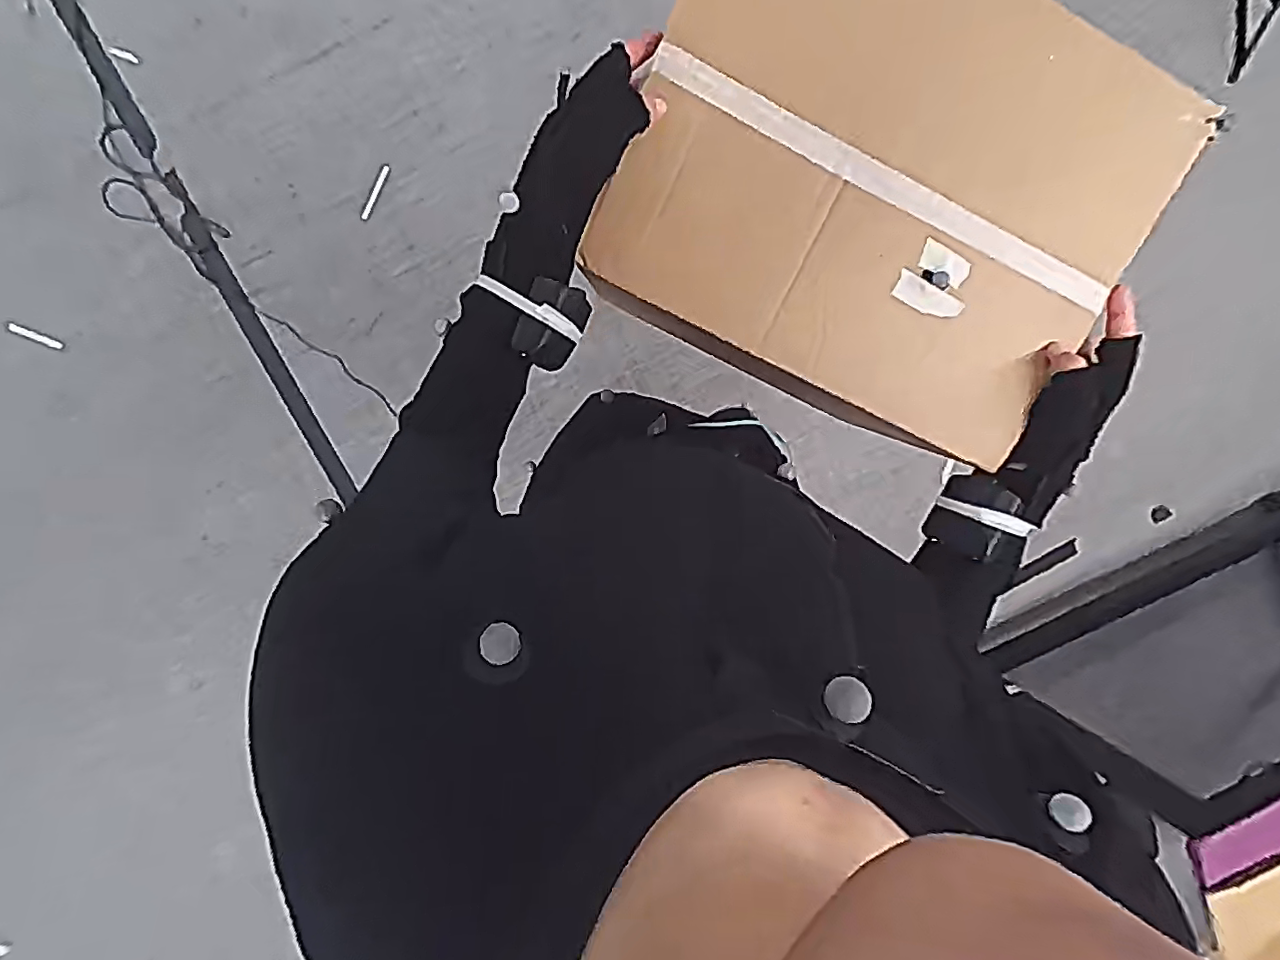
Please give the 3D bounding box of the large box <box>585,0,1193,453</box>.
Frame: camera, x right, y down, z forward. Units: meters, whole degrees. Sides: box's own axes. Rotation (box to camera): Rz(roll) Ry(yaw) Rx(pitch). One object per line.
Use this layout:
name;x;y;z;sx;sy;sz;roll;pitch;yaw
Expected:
large box;0.189;-0.271;0.575;0.408;0.320;0.320;25;103;-8
